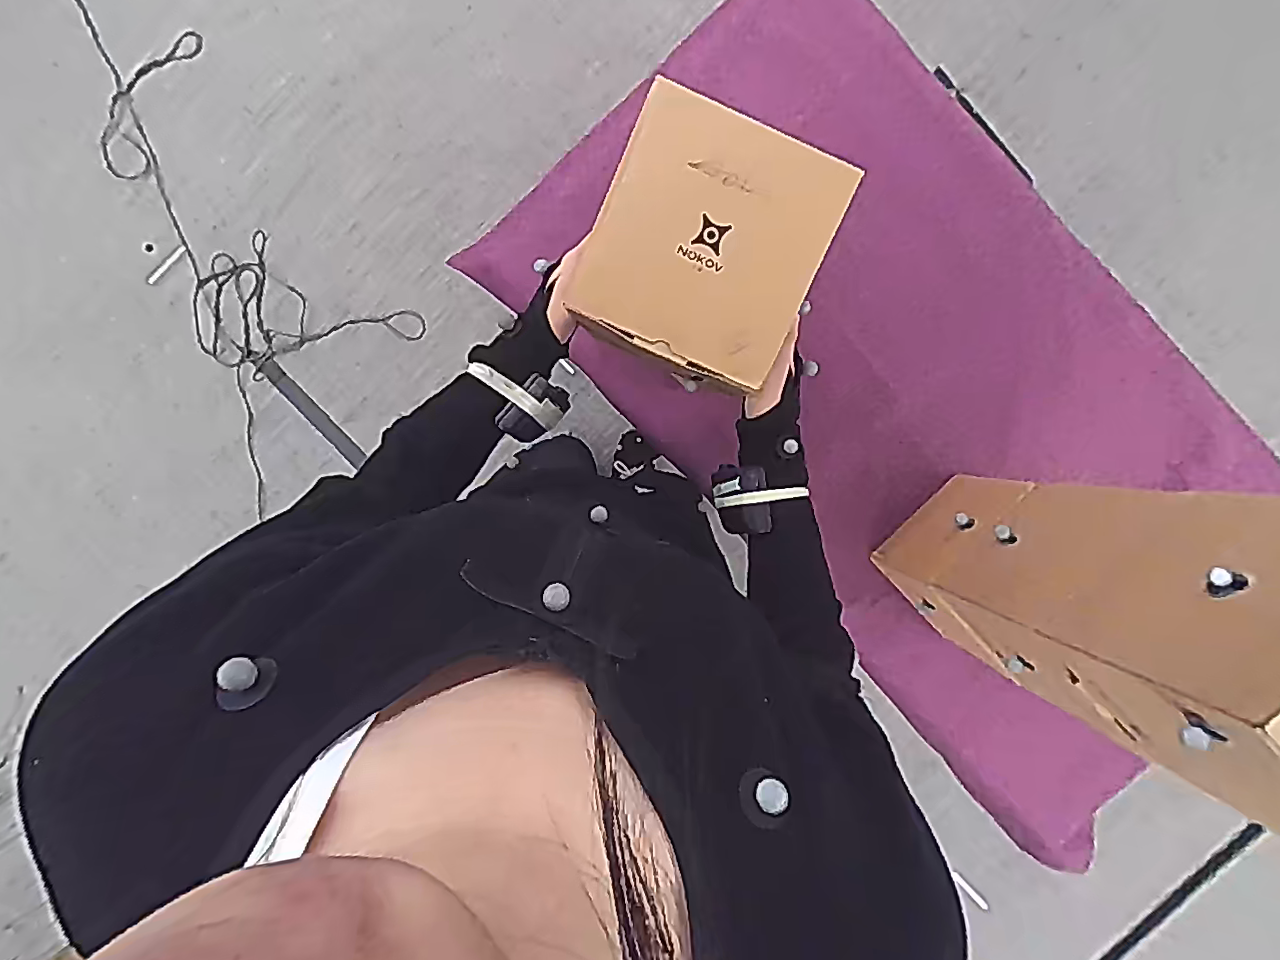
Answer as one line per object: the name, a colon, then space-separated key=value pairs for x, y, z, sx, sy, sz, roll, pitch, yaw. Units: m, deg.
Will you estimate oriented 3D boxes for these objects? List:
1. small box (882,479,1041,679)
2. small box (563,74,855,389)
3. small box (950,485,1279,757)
small box: x=0.449 y=0.115 z=0.706 sx=0.179 sy=0.176 sz=0.168 roll=-44 pitch=92 yaw=2
small box: x=0.051 y=-0.189 z=0.475 sx=0.168 sy=0.176 sz=0.179 roll=23 pitch=97 yaw=-2
small box: x=0.453 y=0.122 z=0.543 sx=0.179 sy=0.176 sz=0.168 roll=-43 pitch=92 yaw=2
